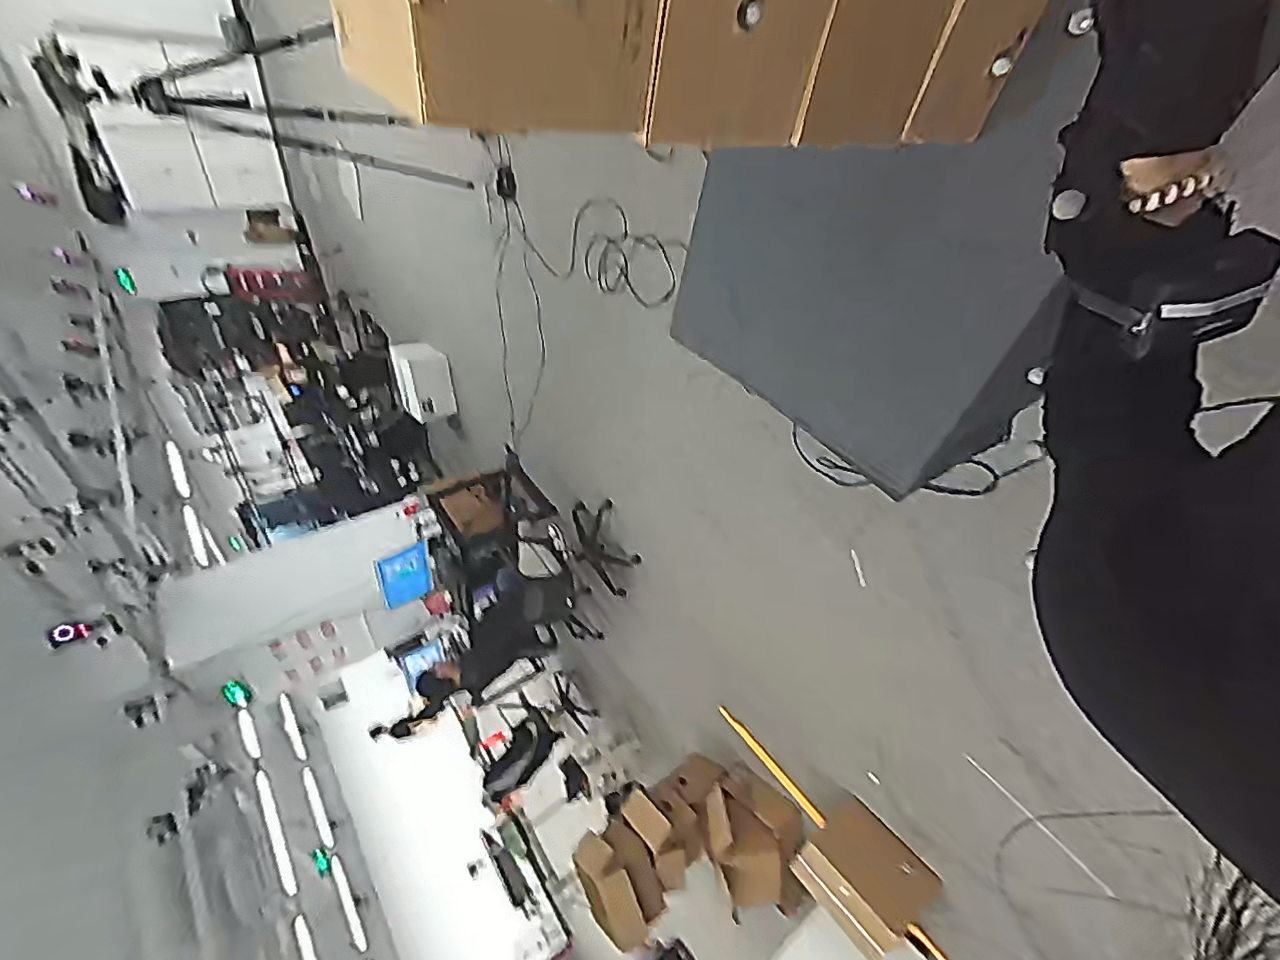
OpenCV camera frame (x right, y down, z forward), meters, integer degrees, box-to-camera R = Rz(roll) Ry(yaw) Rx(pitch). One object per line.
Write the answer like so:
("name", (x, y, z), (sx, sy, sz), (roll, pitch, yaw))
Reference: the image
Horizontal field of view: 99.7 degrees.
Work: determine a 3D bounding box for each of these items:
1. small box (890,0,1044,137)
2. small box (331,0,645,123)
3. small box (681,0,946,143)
("small box", (0.300, -0.497, 0.602), (0.179, 0.176, 0.168), (46, 142, 30))
("small box", (-0.103, -0.355, 0.360), (0.179, 0.176, 0.168), (46, 142, 32))
("small box", (0.169, -0.445, 0.520), (0.168, 0.176, 0.179), (46, 142, 33))
